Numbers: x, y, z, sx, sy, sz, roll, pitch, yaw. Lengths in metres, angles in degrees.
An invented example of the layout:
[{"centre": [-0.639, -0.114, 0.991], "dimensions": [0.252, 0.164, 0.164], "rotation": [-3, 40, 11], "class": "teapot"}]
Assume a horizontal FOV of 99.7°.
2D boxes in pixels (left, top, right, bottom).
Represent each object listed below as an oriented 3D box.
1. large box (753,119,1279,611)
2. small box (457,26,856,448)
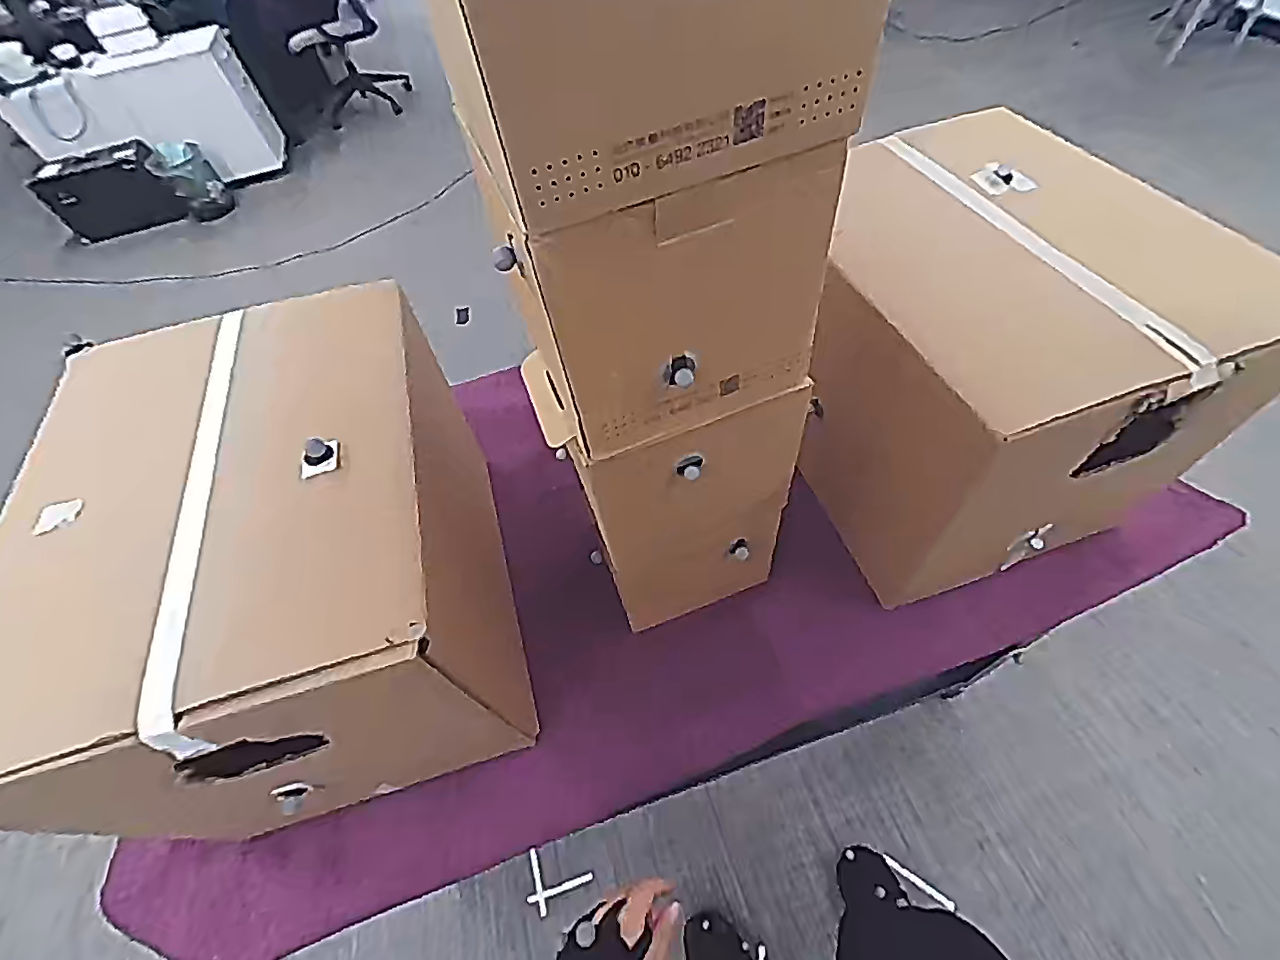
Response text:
[{"centre": [0.344, -0.131, 0.610], "dimensions": [0.320, 0.320, 0.408], "rotation": [-18, 54, -6], "class": "large box"}, {"centre": [0.003, -0.153, 0.352], "dimensions": [0.168, 0.176, 0.179], "rotation": [-22, 56, -8], "class": "small box"}]
